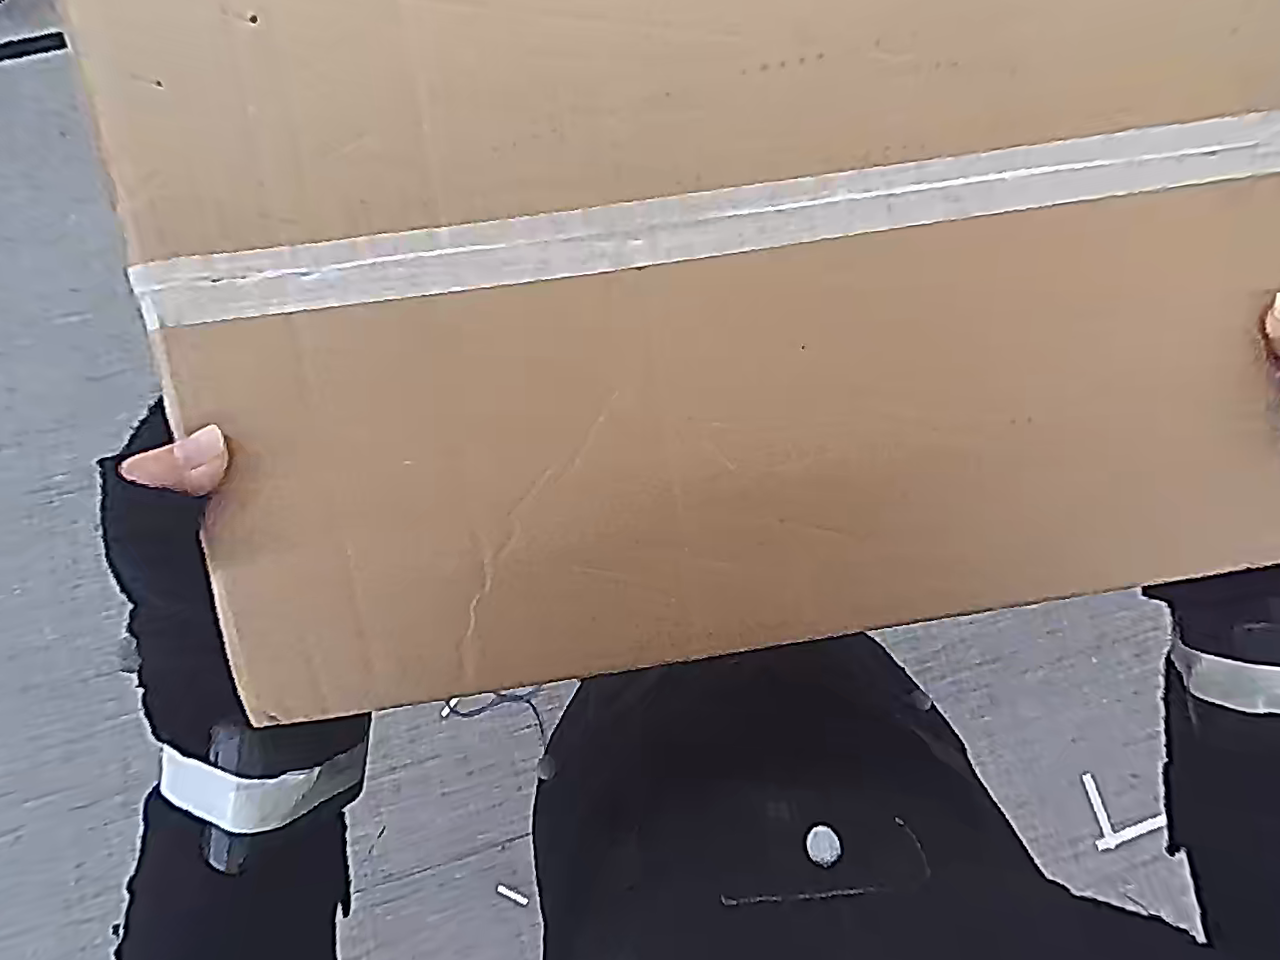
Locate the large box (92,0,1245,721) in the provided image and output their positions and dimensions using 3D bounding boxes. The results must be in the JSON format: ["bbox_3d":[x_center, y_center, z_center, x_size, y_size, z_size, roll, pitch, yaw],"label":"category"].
[{"bbox_3d":[0.024,-0.105,0.348,0.408,0.320,0.320,-9,97,-2],"label":"large box"}]
